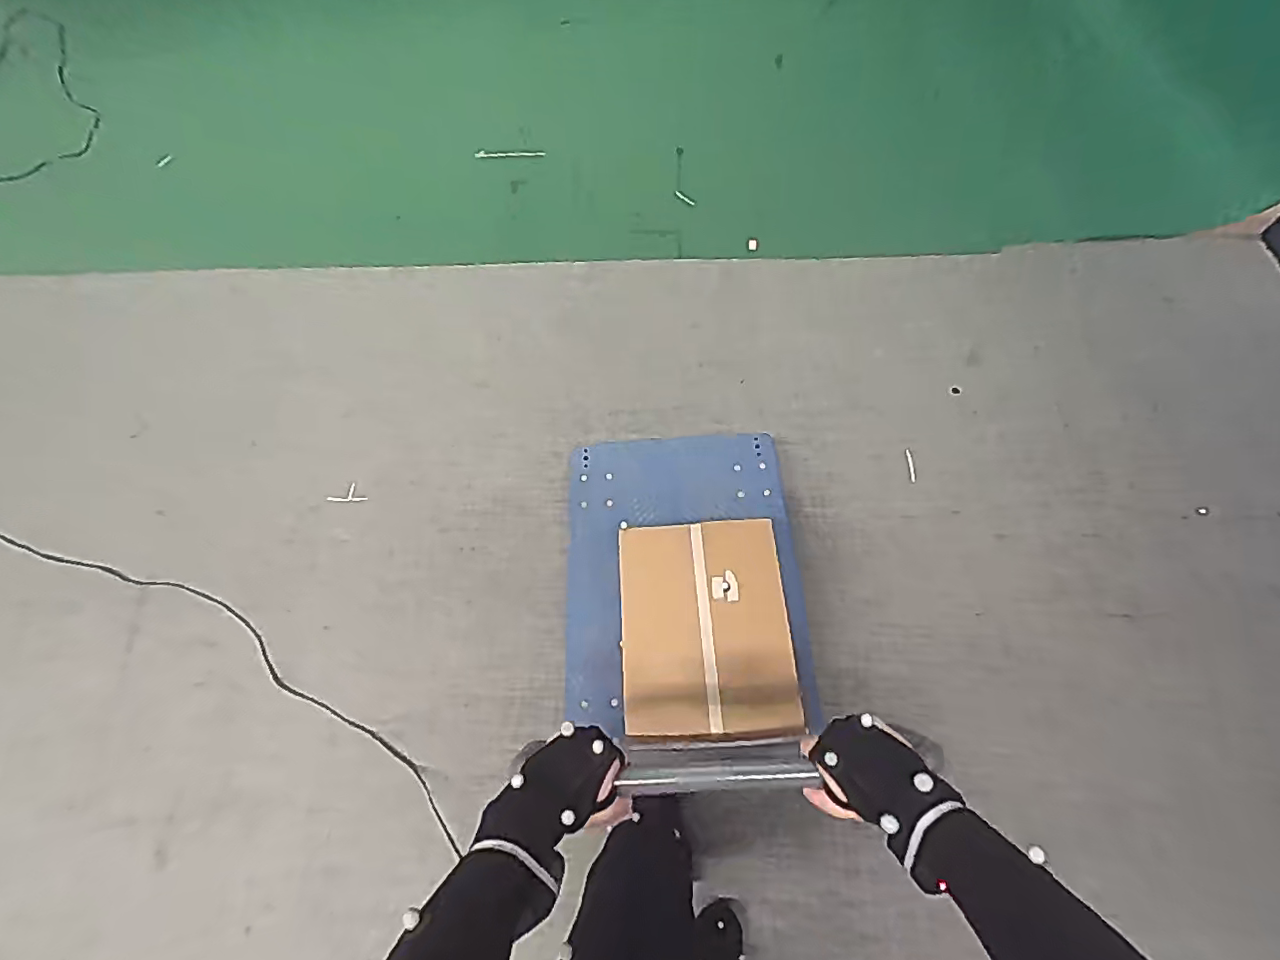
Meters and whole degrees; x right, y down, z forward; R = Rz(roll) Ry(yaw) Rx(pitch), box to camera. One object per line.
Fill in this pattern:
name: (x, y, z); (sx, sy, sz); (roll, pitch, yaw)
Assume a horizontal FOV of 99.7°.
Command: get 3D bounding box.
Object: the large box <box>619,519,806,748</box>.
large box: (0.131, 0.336, 1.153); (0.320, 0.320, 0.408); (-4, 63, 1)
